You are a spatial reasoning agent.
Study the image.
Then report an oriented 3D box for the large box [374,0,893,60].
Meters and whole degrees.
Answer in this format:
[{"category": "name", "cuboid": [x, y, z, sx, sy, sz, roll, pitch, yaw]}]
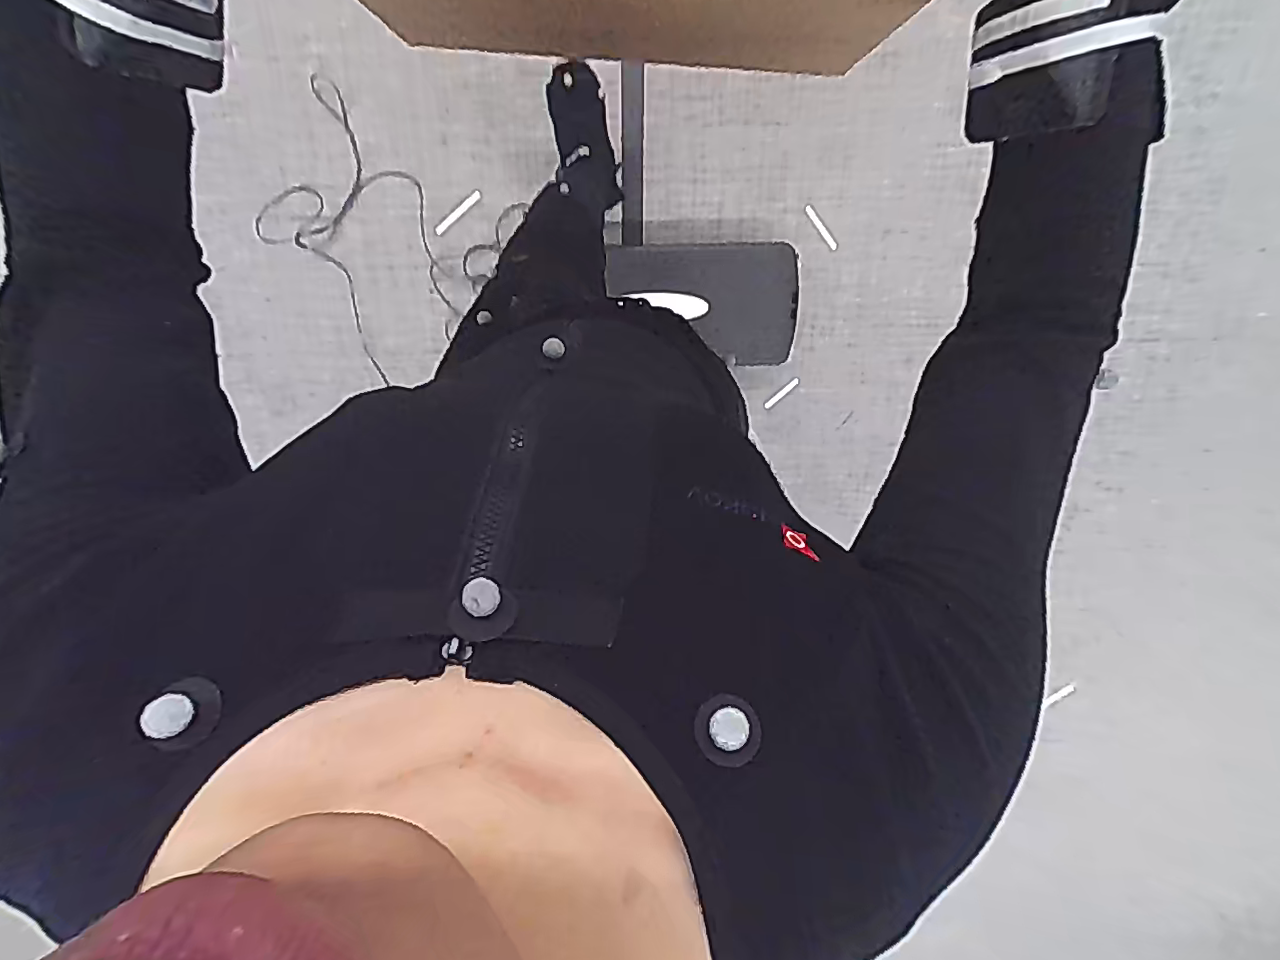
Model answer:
[{"category": "large box", "cuboid": [-0.007, -0.479, 0.306, 0.408, 0.320, 0.320, 2, 113, -1]}]
